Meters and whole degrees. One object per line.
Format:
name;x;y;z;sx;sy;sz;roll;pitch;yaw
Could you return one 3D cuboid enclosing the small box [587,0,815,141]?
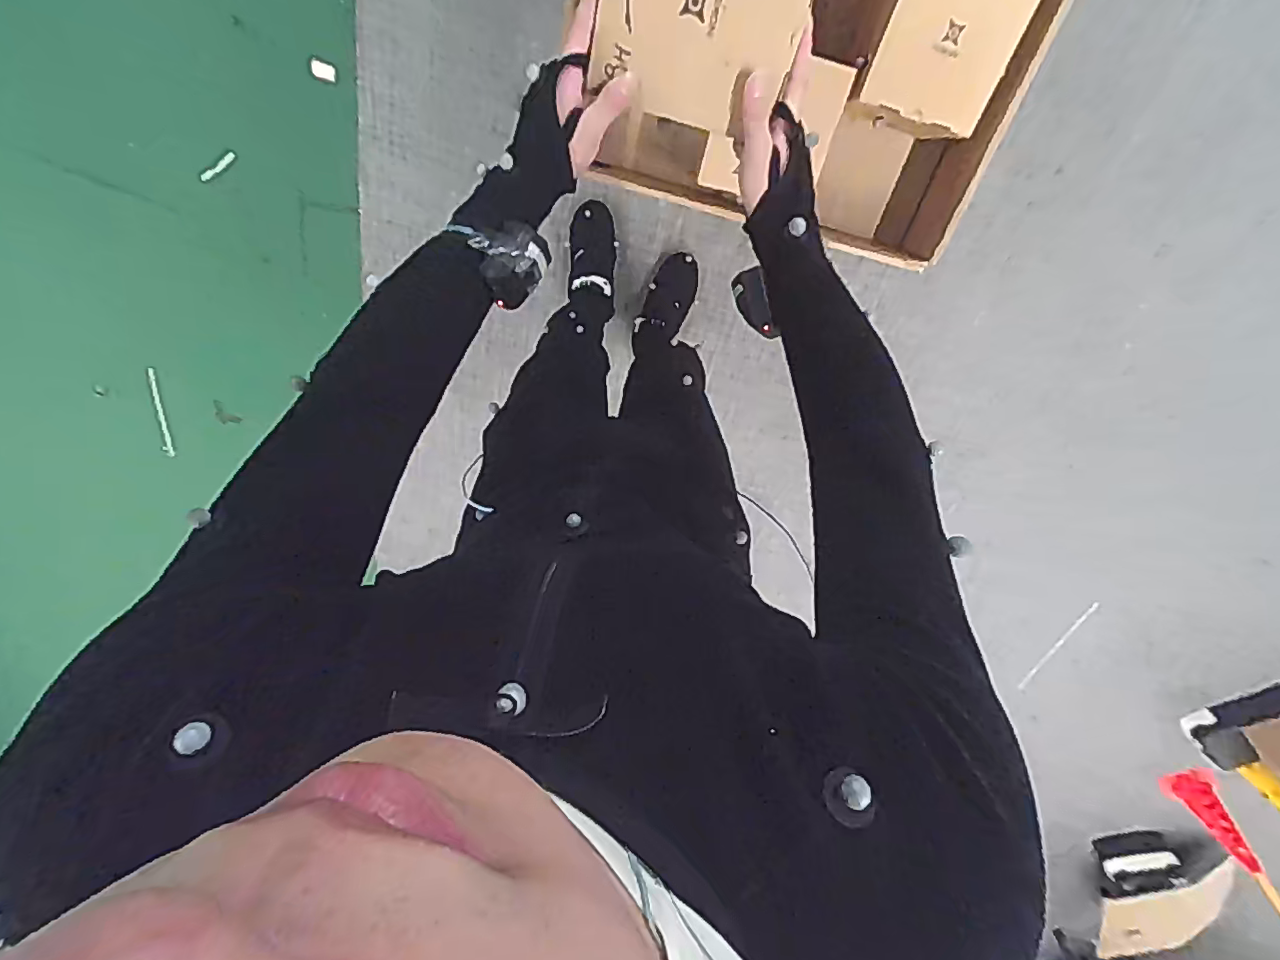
small box;0.052;-0.447;0.511;0.179;0.176;0.168;10;126;-11
